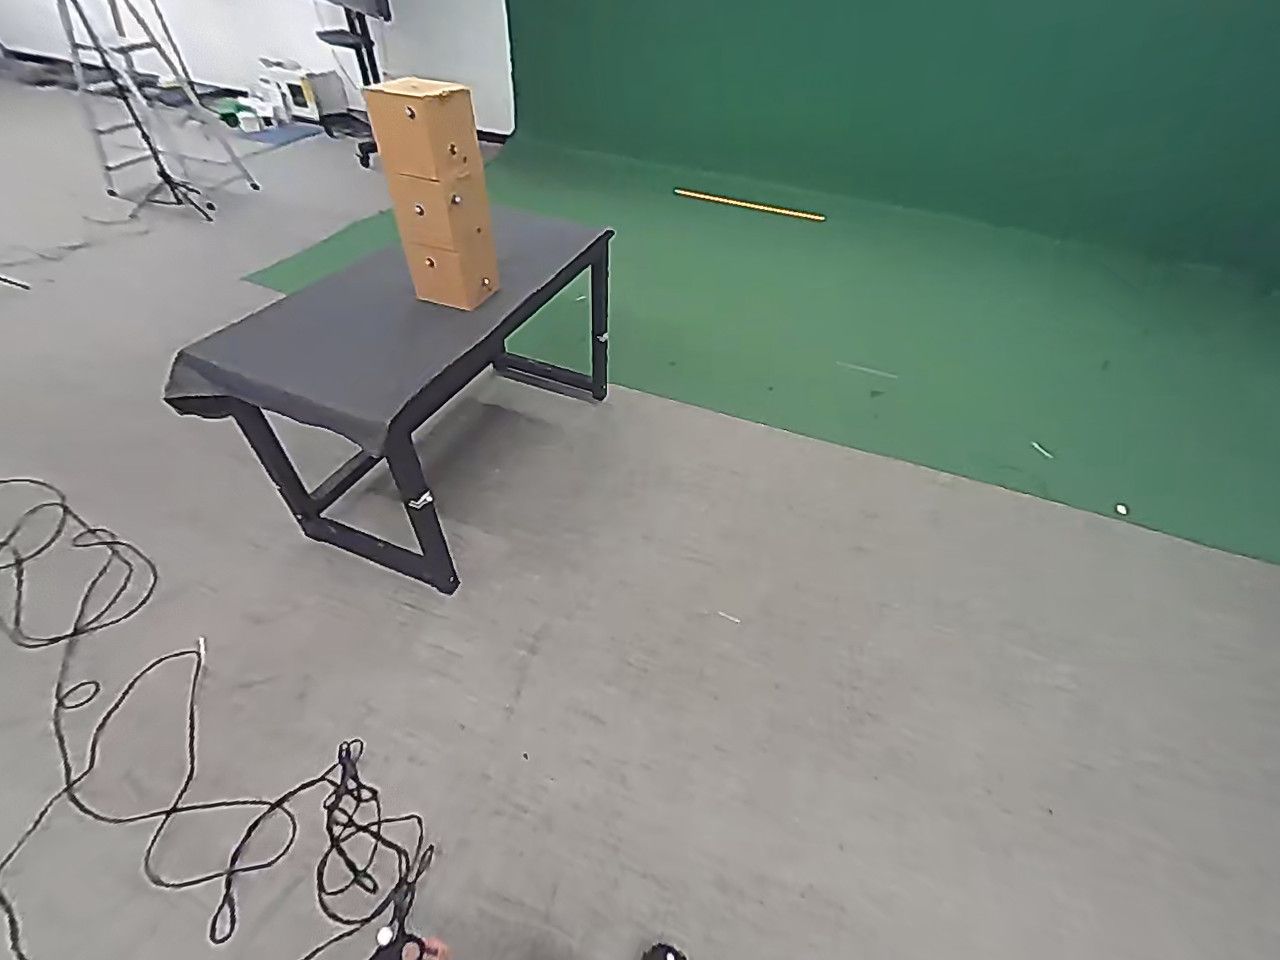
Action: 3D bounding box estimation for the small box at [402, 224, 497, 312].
[{"bbox_3d":[-0.525,-0.592,1.517,0.179,0.176,0.168,17,47,12],"label":"small box"}]

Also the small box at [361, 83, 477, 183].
[{"bbox_3d":[-0.516,-0.826,1.289,0.179,0.176,0.168,19,47,14],"label":"small box"}]
